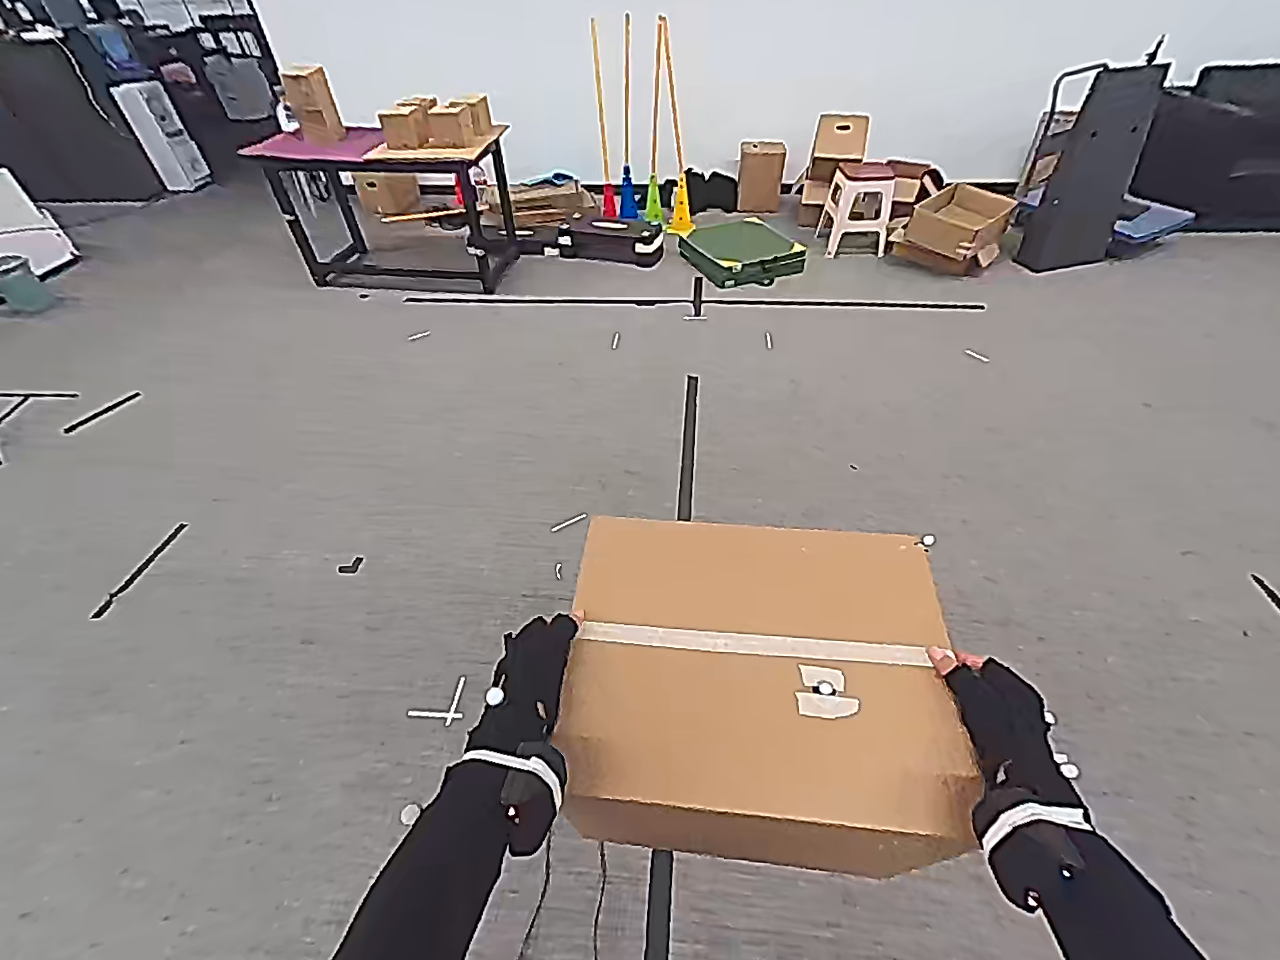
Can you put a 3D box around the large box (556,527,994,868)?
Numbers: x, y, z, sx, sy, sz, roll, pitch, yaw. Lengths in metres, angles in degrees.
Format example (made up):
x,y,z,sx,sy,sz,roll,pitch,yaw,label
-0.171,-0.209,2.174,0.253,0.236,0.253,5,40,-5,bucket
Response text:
x,y,z,sx,sy,sz,roll,pitch,yaw,label
0.134,0.281,0.699,0.408,0.320,0.320,3,50,6,large box
